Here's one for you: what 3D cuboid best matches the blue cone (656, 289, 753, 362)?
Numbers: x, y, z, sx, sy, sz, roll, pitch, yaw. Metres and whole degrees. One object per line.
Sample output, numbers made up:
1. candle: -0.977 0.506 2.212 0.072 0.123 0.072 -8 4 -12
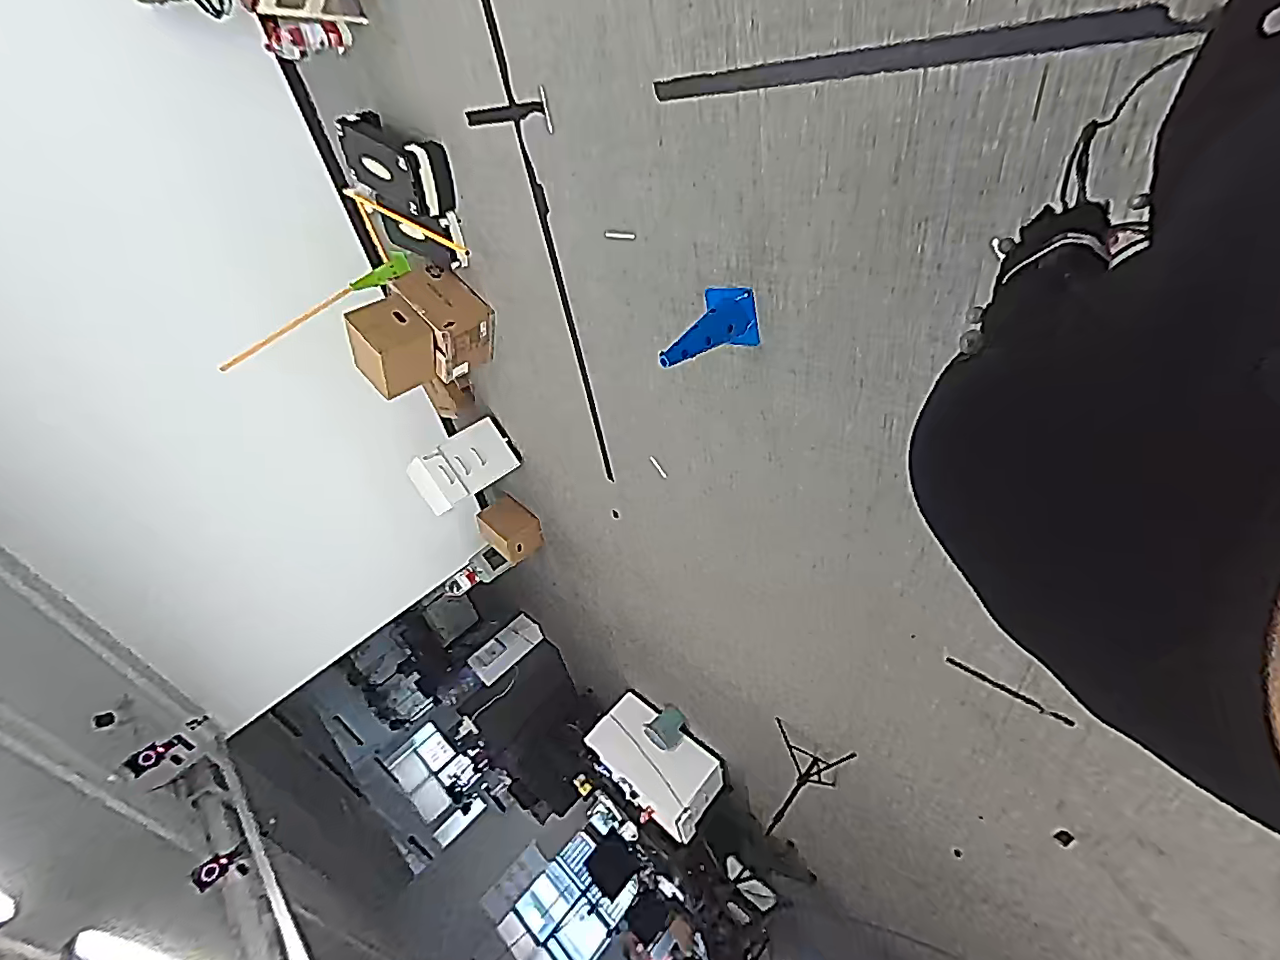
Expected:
1. blue cone: 0.189 -0.467 1.757 0.193 0.380 0.192 20 137 42
